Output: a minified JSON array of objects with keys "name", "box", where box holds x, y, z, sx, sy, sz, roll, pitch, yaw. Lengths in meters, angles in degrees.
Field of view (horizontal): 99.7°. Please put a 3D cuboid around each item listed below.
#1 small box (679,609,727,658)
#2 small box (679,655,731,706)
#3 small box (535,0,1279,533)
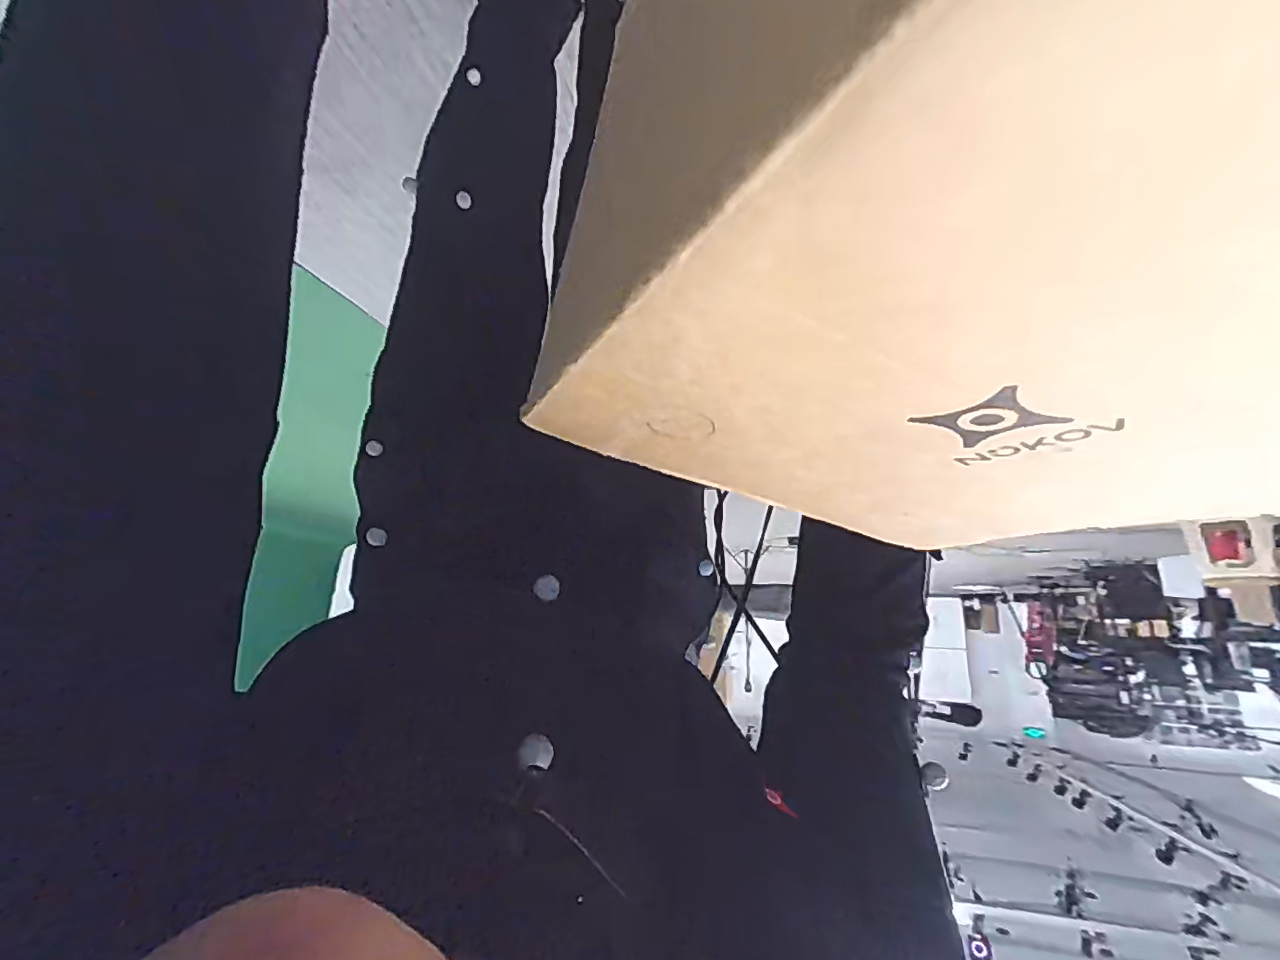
[{"name":"small box","box":[0.247,0.591,2.082,0.168,0.176,0.179,-2,164,15]},{"name":"small box","box":[0.247,0.747,2.037,0.179,0.176,0.168,-4,165,16]},{"name":"small box","box":[0.092,-0.095,0.149,0.179,0.176,0.168,16,160,-26]}]
